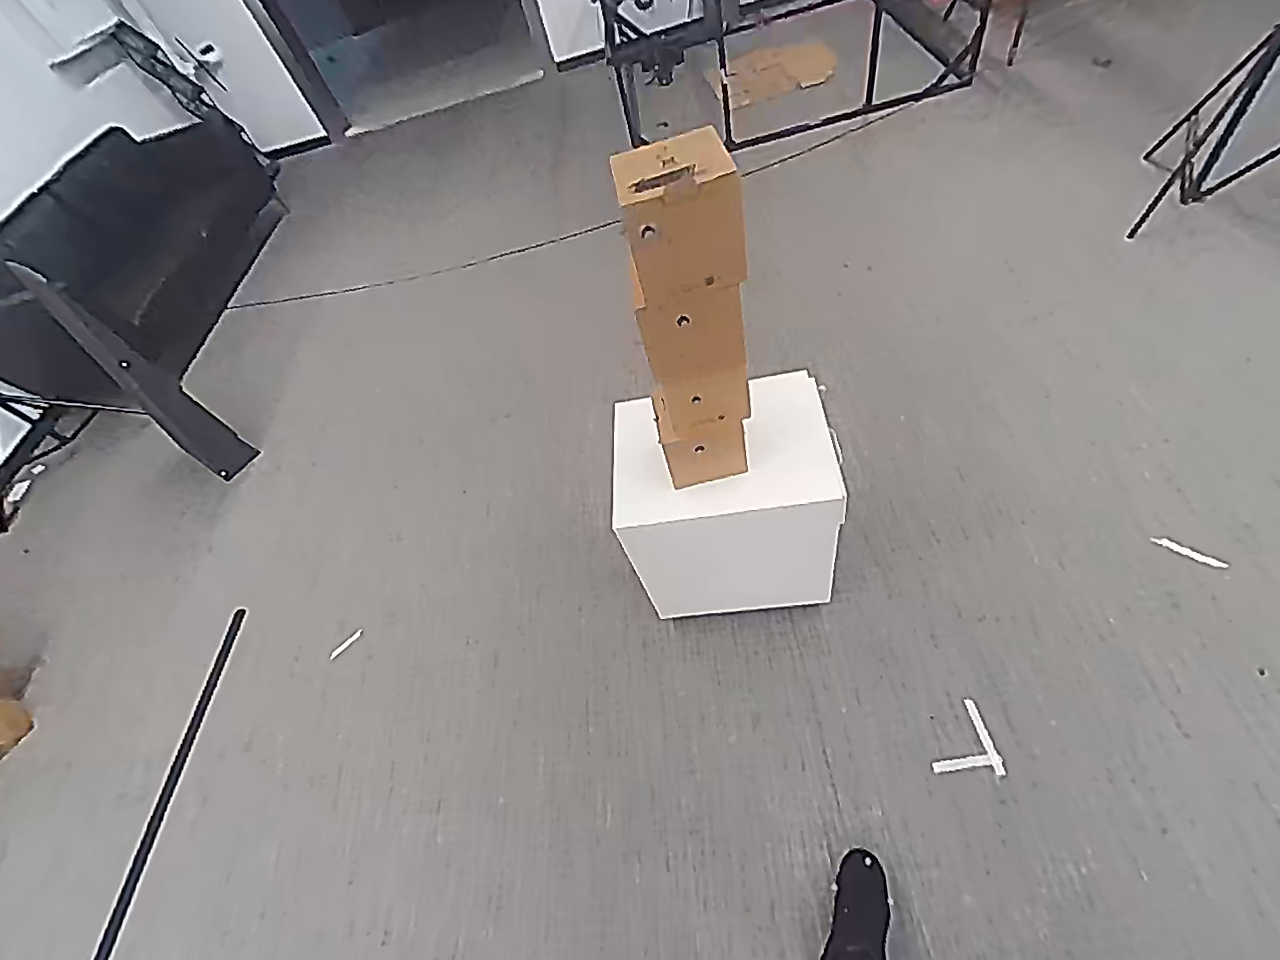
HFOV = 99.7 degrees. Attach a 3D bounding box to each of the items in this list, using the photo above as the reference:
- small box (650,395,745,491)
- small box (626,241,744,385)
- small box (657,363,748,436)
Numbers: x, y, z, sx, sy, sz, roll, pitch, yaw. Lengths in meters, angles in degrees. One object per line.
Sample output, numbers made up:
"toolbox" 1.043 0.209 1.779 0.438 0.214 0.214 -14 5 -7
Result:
"small box" 0.133 -0.097 1.233 0.179 0.176 0.168 -14 52 5
"small box" 0.082 -0.294 0.977 0.179 0.176 0.168 -11 52 7
"small box" 0.120 -0.209 1.113 0.168 0.176 0.179 -14 51 6
